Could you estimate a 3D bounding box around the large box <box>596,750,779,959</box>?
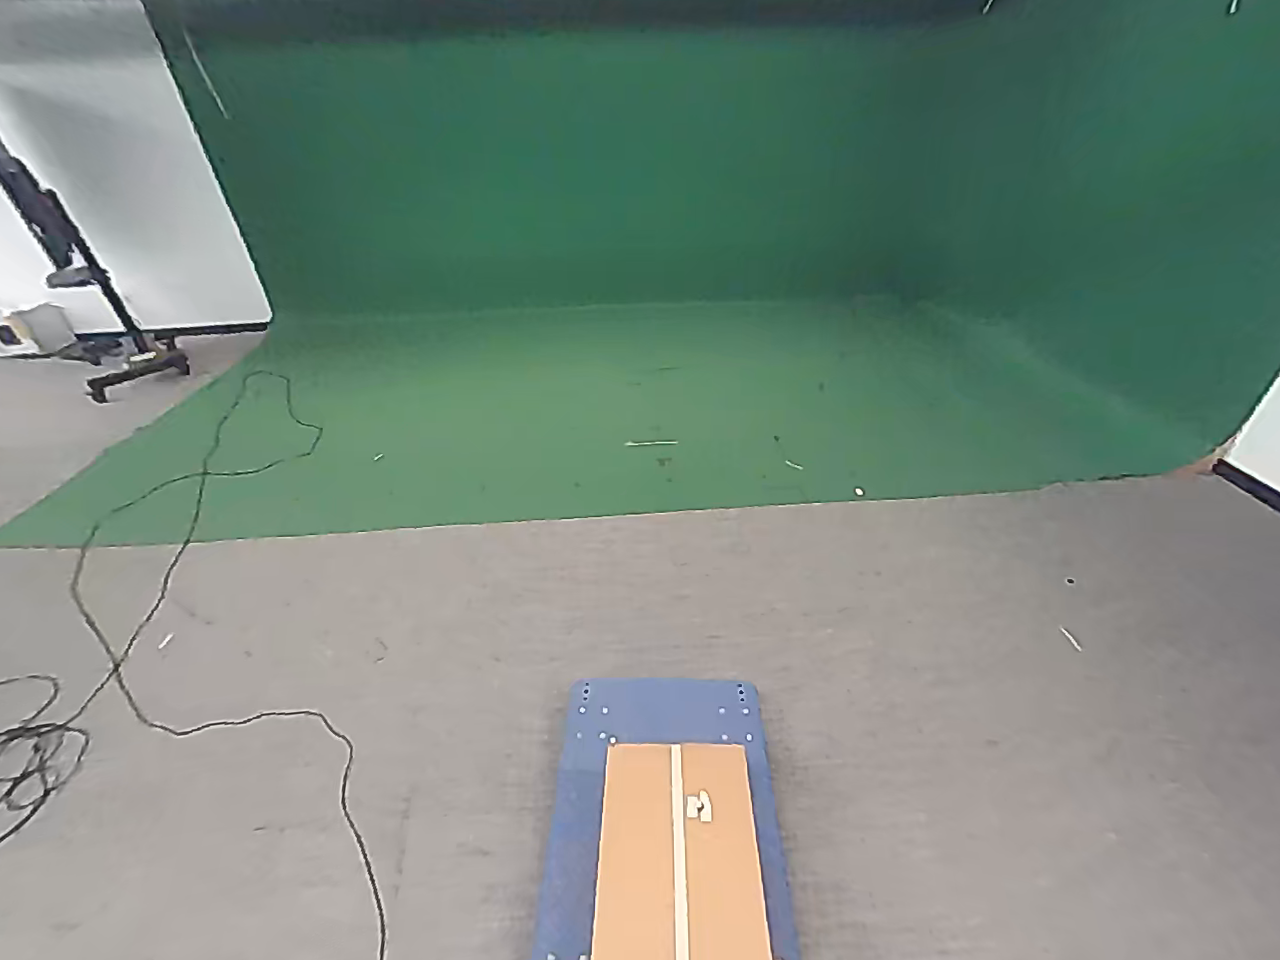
[{"bbox_3d":[0.088,0.845,1.136,0.320,0.320,0.408,0,34,2],"label":"large box"}]
